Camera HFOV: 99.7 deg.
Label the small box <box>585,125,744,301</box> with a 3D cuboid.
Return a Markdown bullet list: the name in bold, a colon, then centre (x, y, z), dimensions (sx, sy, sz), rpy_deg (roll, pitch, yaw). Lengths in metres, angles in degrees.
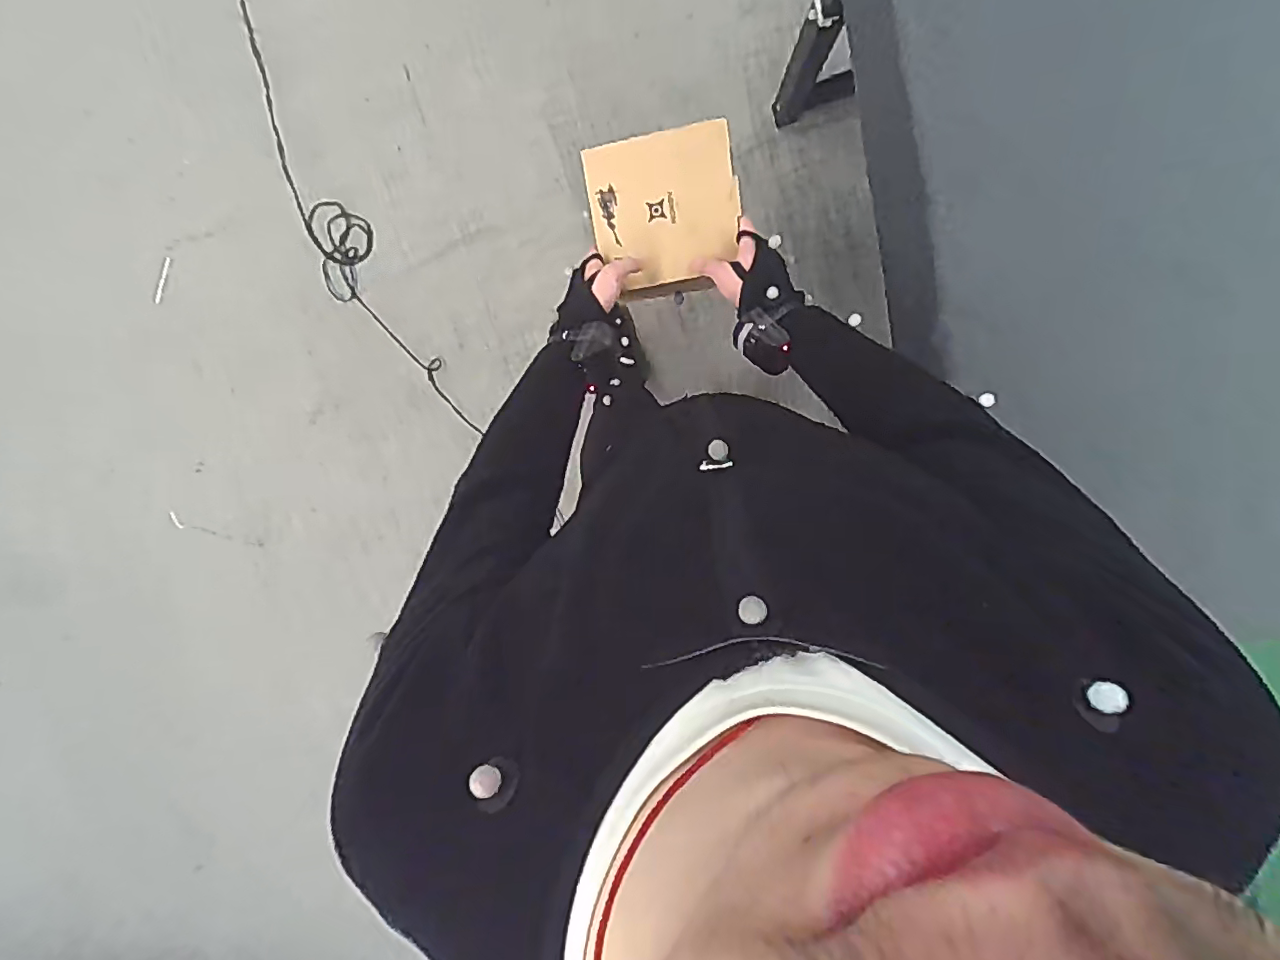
- **small box**: centre (0.036, -0.340, 0.722), dimensions (0.179, 0.176, 0.168), rpy_deg (-7, 103, 7)
